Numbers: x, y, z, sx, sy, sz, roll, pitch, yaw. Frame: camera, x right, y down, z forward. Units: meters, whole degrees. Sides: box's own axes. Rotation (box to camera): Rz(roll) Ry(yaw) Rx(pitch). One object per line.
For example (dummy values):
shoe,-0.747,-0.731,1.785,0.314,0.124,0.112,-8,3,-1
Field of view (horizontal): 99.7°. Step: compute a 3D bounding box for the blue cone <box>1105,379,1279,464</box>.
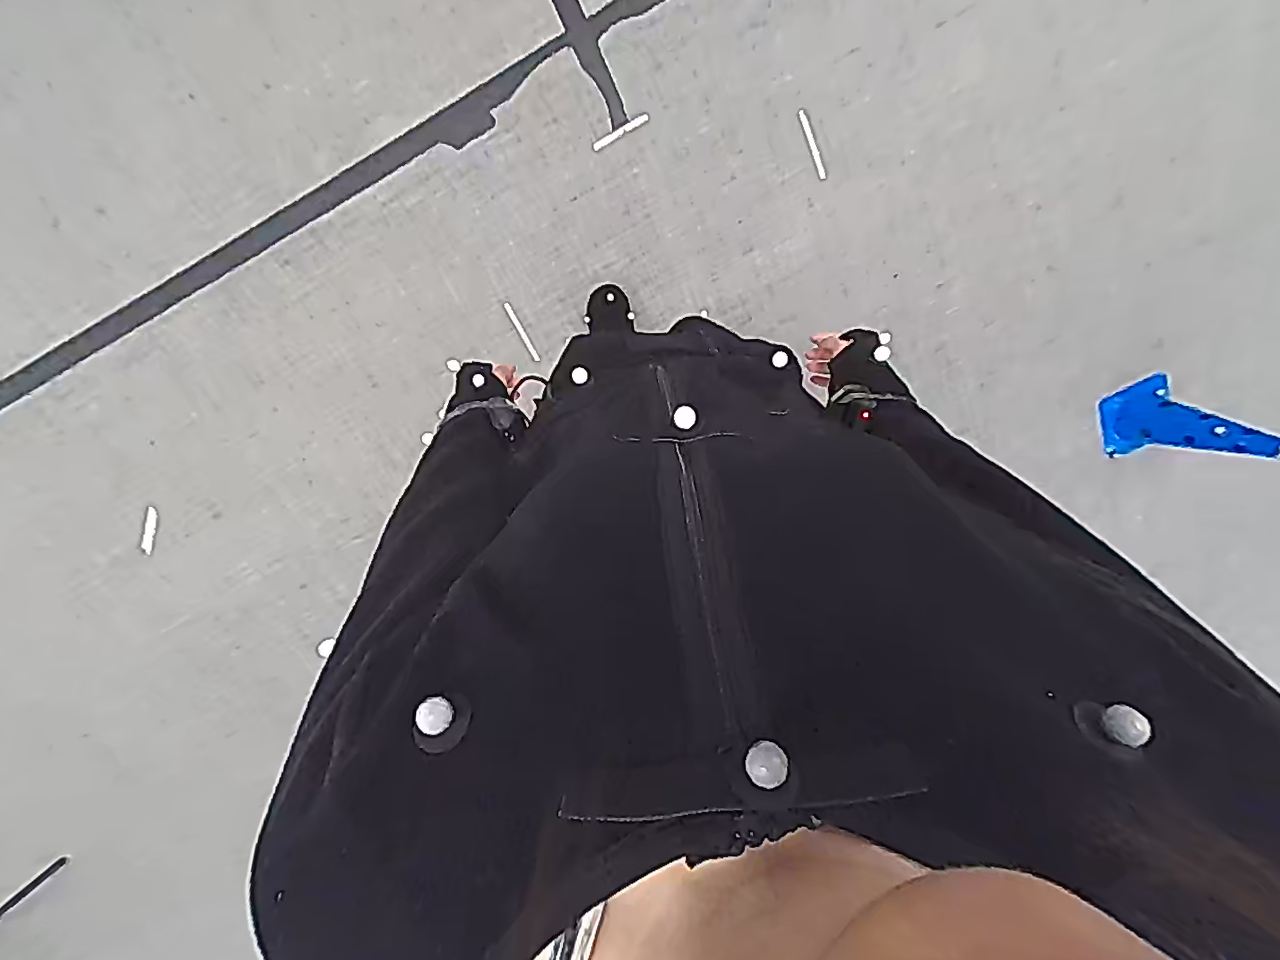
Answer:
blue cone,1.436,-0.122,1.387,0.193,0.380,0.192,-24,110,3
